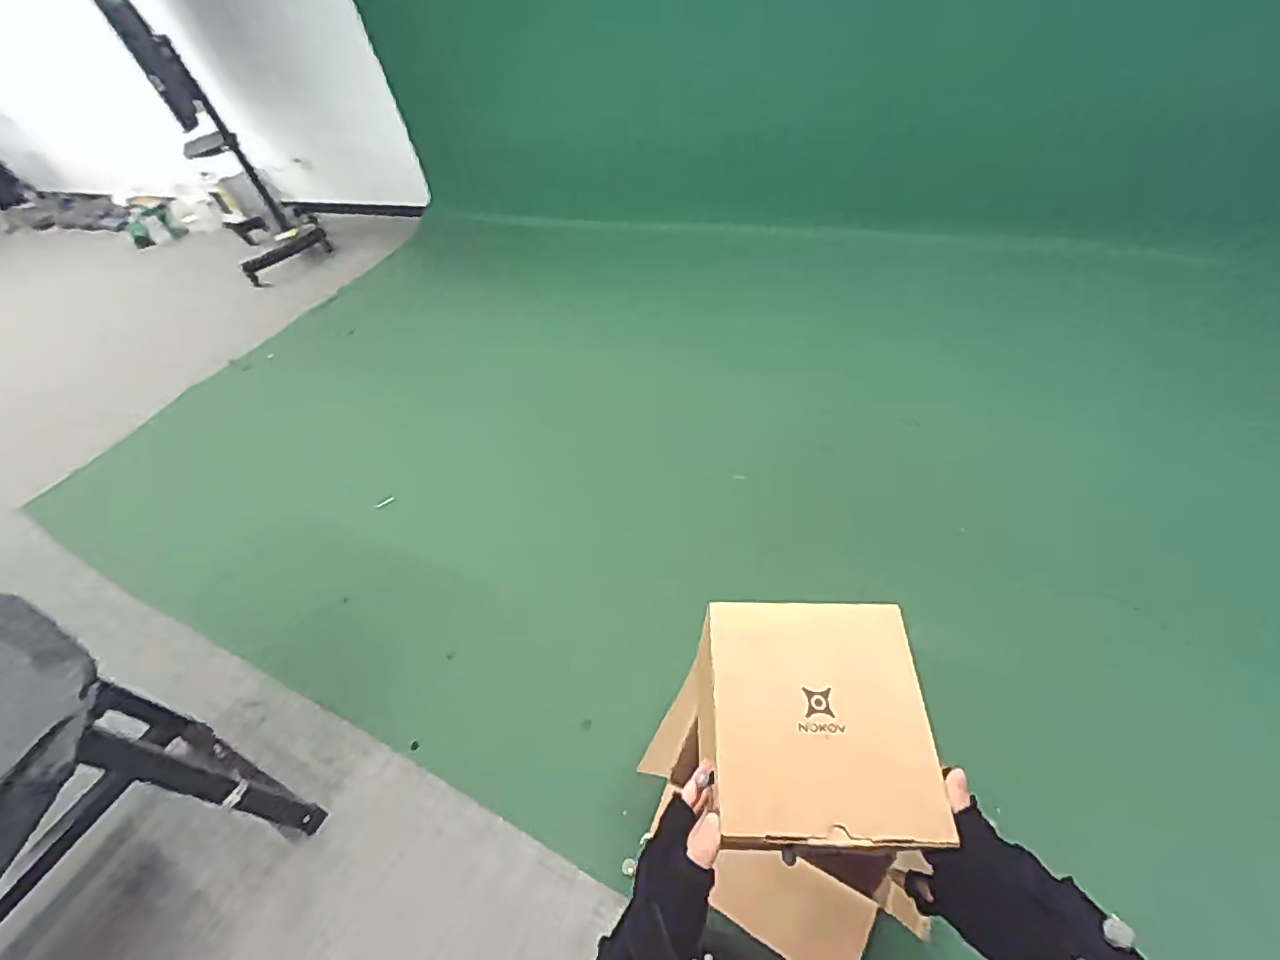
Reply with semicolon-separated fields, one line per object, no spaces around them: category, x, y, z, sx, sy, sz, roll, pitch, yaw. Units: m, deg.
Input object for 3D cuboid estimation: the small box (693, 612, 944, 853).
small box;0.138;0.235;0.497;0.168;0.176;0.179;0;56;2
